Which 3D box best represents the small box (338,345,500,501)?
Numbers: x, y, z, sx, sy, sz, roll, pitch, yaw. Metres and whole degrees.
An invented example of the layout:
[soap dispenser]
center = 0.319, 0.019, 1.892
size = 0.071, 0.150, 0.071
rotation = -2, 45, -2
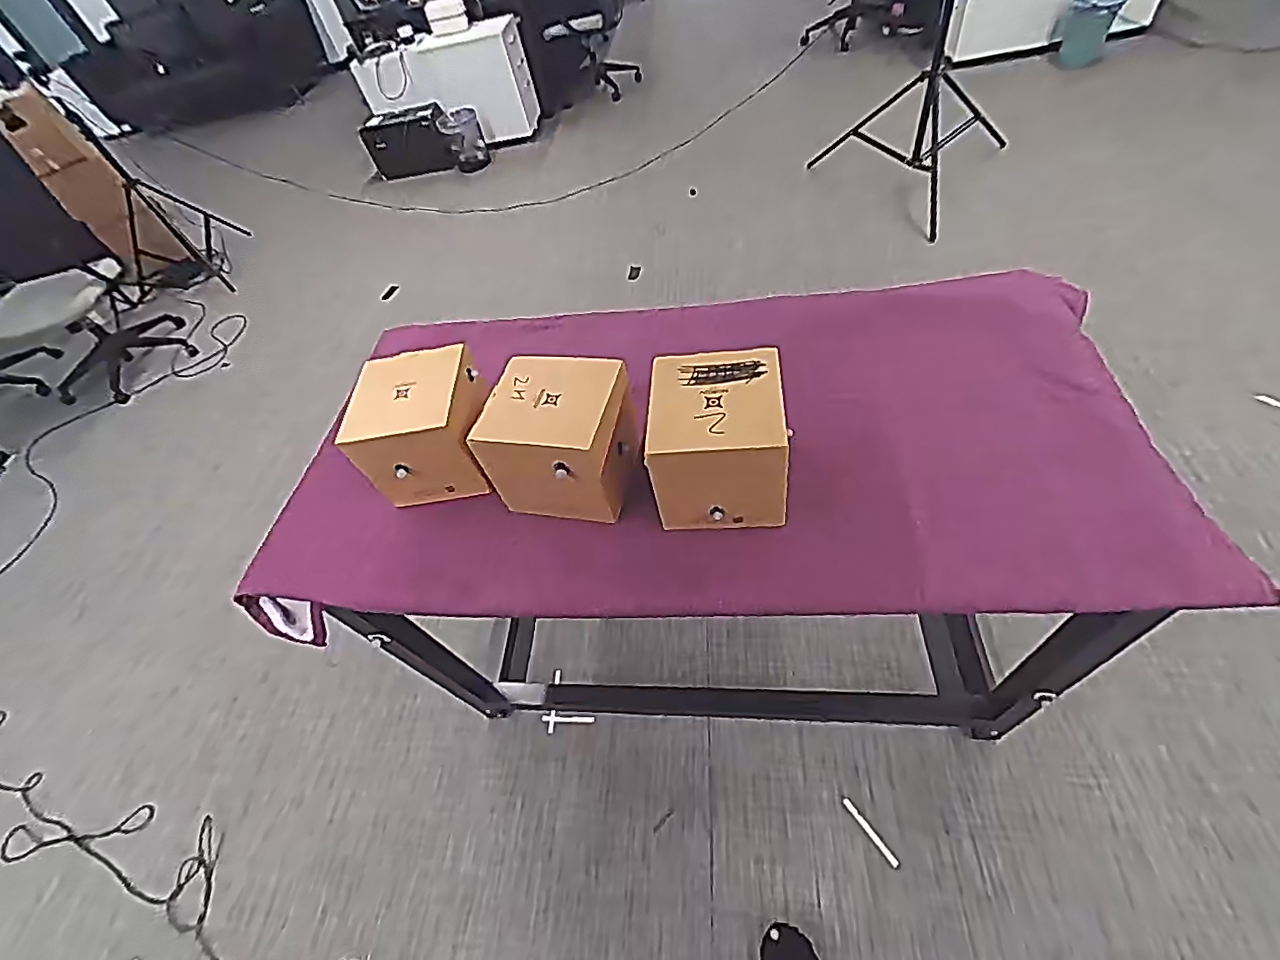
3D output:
[small box]
center = -0.333, -0.080, 0.857
size = 0.168, 0.176, 0.179
rotation = -9, 52, 6
